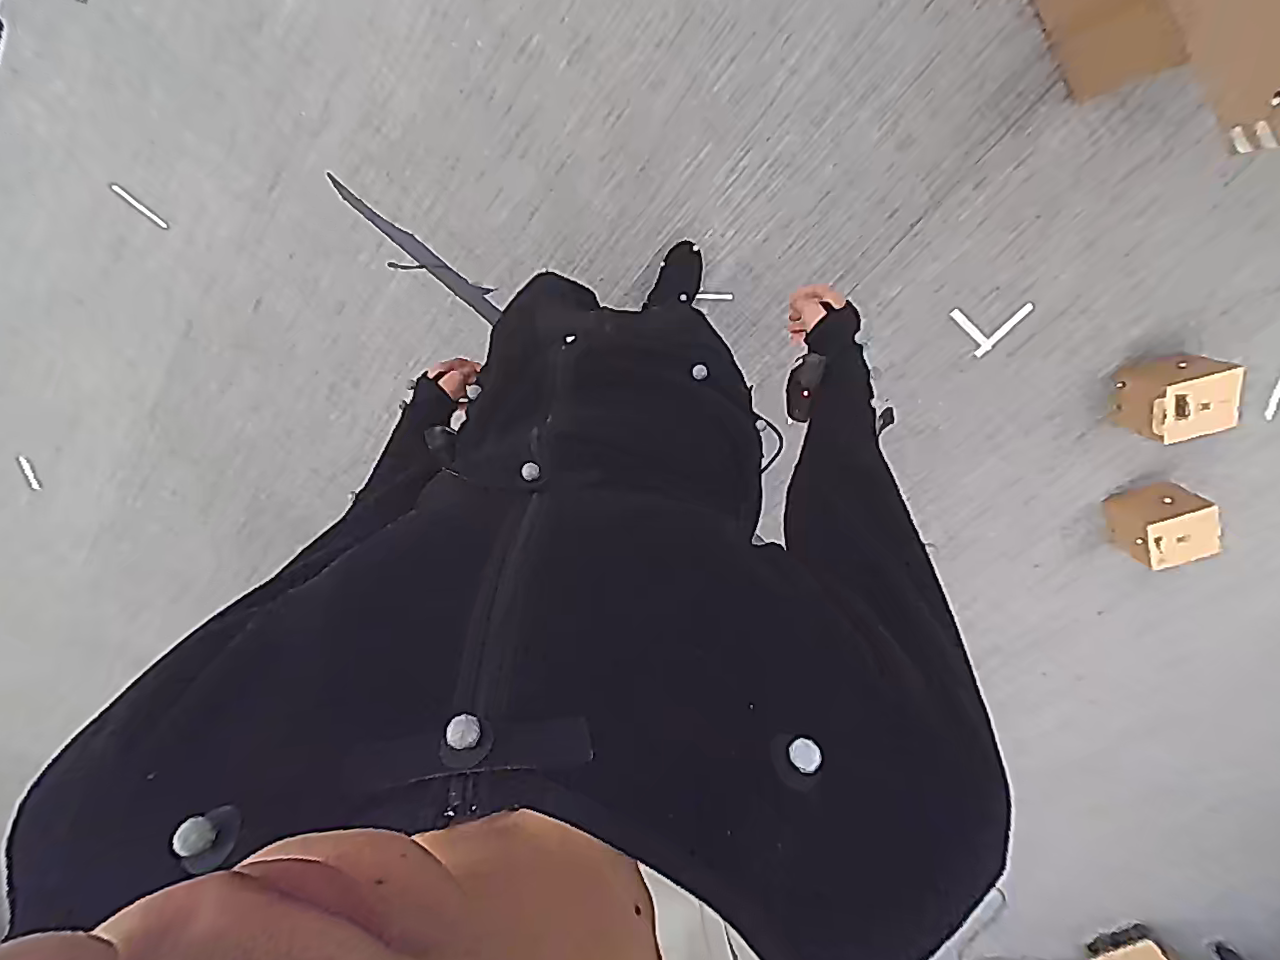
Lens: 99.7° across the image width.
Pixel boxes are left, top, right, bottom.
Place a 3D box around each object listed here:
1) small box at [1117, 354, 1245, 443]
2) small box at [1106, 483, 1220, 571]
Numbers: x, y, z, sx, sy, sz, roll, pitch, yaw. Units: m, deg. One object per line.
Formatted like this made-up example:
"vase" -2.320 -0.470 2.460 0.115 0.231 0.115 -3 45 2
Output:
"small box" 1.409 -0.218 1.424 0.179 0.176 0.168 -15 113 10
"small box" 1.518 0.132 1.575 0.179 0.176 0.168 -22 111 12
